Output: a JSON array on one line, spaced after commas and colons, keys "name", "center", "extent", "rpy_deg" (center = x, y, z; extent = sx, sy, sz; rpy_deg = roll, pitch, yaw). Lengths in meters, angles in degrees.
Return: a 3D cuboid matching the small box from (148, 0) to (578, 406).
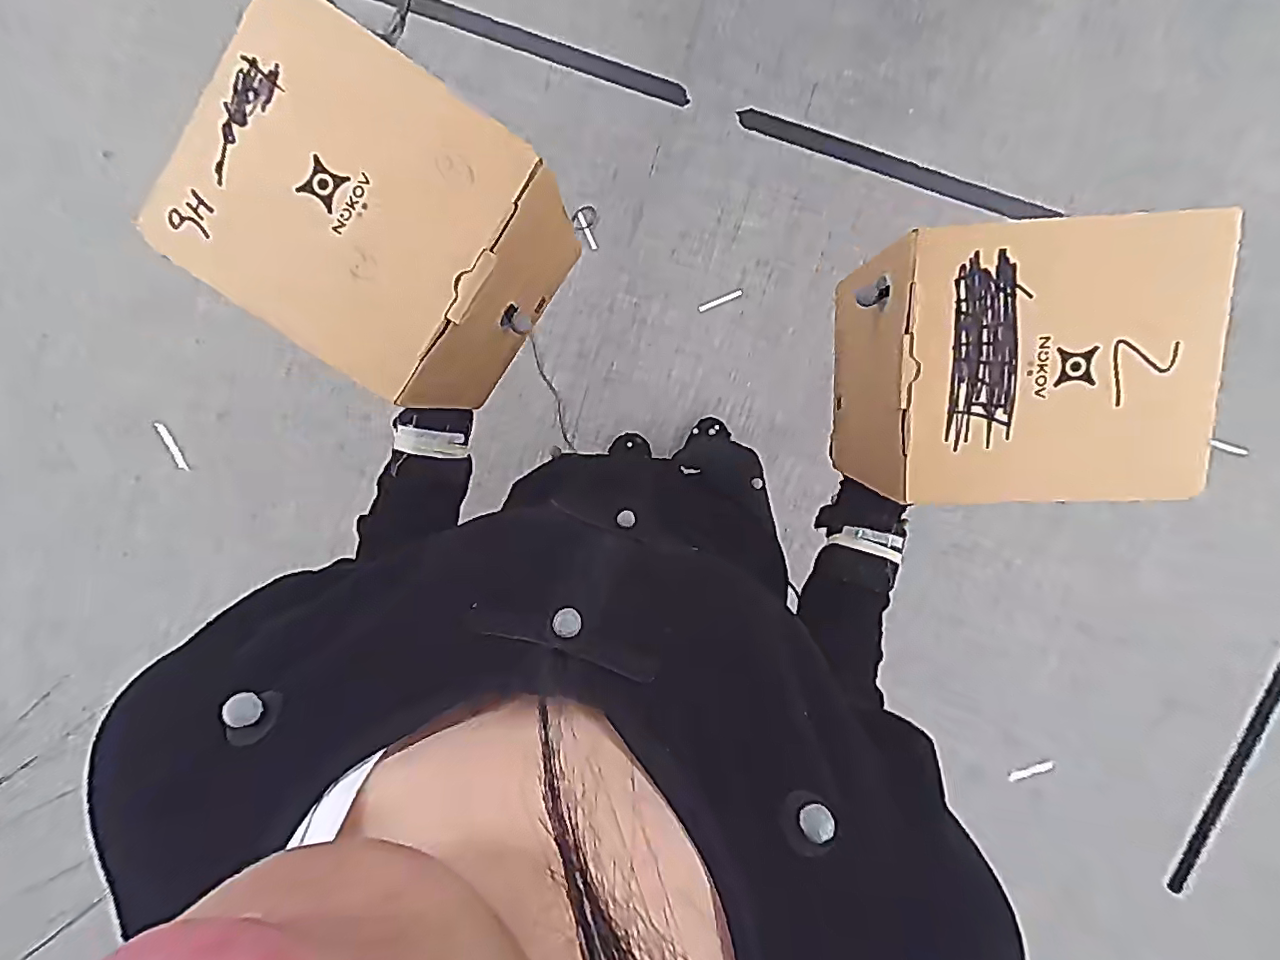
[{"name": "small box", "center": [-0.160, -0.168, 0.380], "extent": [0.179, 0.176, 0.168], "rpy_deg": [34, 96, -4]}]
